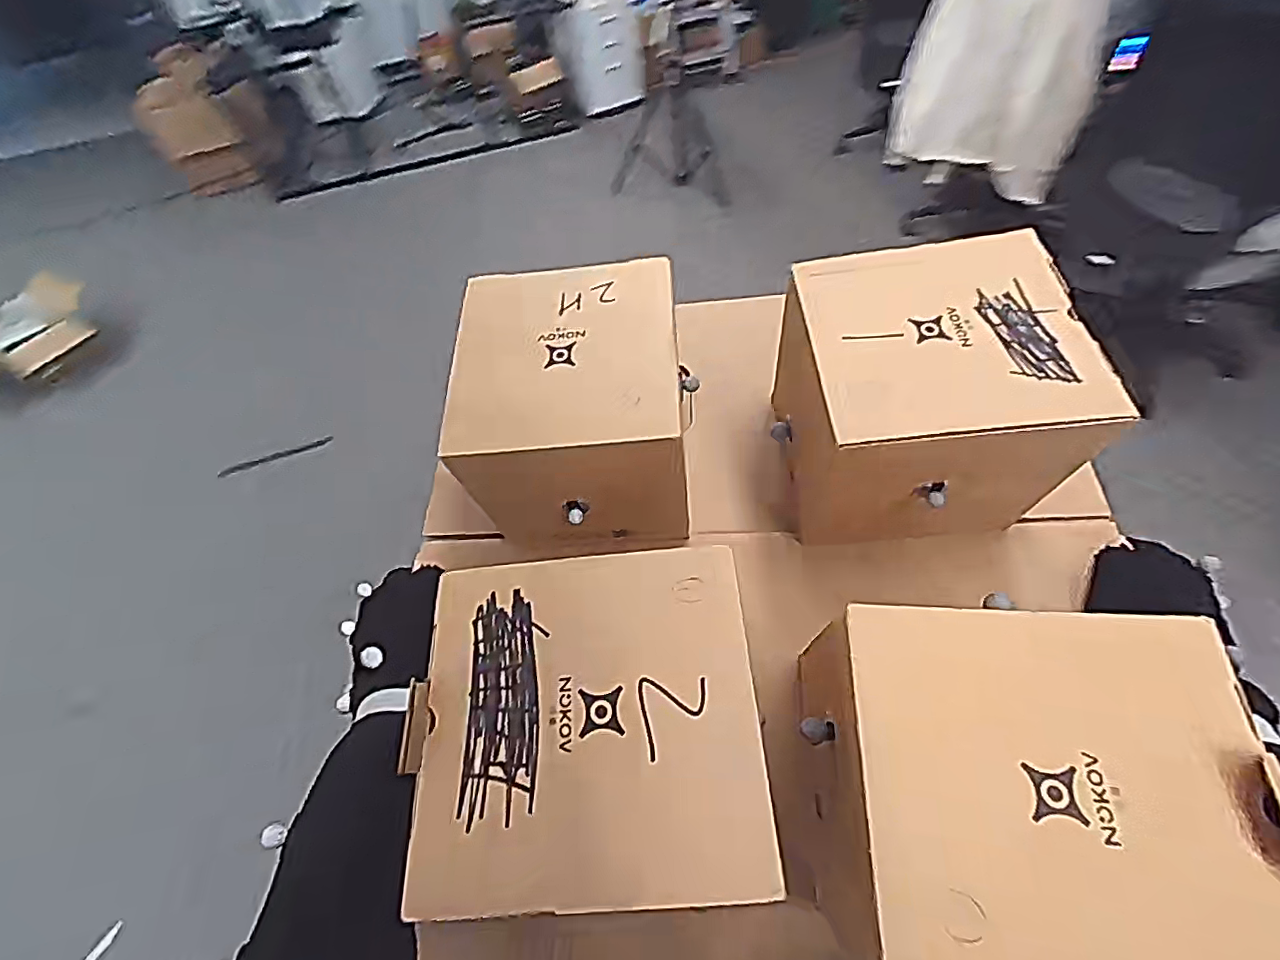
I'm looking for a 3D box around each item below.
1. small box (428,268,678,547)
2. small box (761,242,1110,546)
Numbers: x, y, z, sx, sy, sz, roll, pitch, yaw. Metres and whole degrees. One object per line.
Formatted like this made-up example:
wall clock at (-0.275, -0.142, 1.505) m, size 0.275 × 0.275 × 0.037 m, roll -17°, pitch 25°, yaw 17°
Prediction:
small box at (-0.057, -0.049, 0.467) m, size 0.168 × 0.176 × 0.179 m, roll -4°, pitch 61°, yaw 5°
small box at (0.202, -0.056, 0.435) m, size 0.179 × 0.176 × 0.168 m, roll -6°, pitch 61°, yaw 5°
